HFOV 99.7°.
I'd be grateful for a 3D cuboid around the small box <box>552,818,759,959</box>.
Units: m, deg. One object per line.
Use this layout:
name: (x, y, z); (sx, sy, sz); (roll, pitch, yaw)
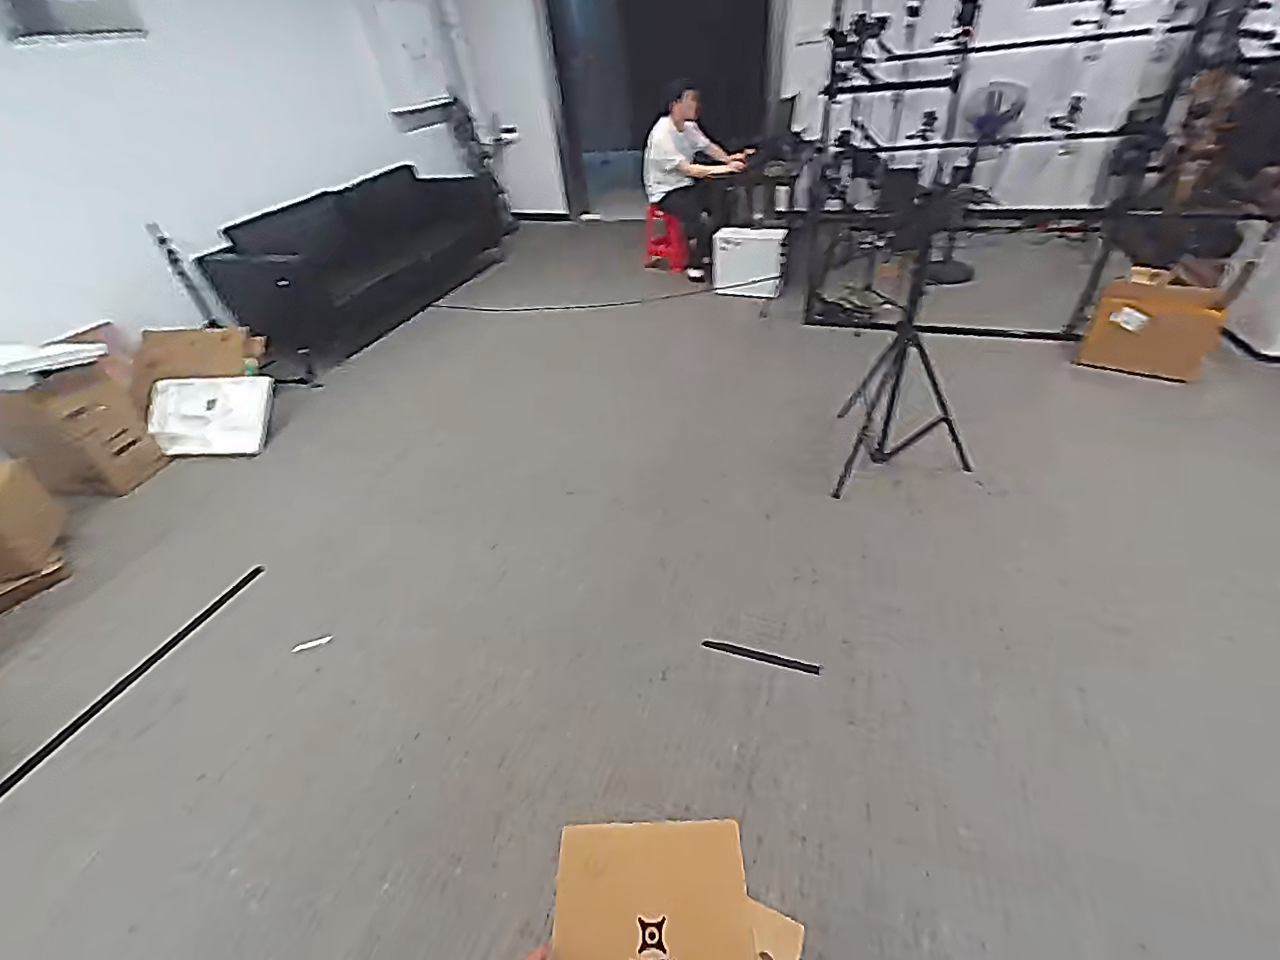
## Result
small box: (0.015, 0.432, 0.481); (0.168, 0.176, 0.179); (-4, 39, 1)
